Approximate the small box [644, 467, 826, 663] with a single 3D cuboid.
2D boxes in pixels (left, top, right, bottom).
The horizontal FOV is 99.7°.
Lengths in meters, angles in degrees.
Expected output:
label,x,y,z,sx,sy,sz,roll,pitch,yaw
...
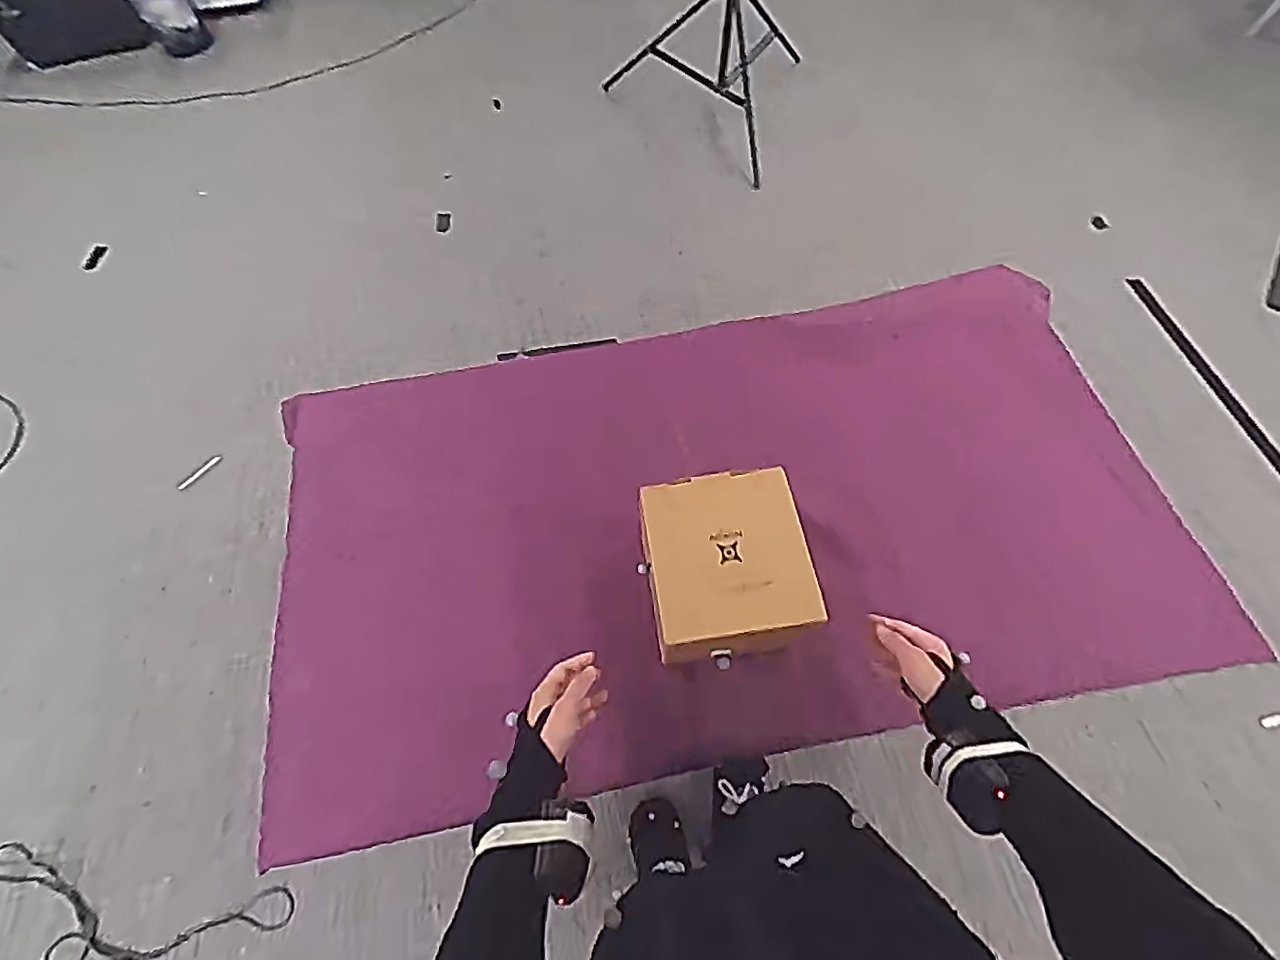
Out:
label,x,y,z,sx,sy,sz,roll,pitch,yaw
small box,0.096,0.107,0.642,0.168,0.176,0.179,-8,65,-2
